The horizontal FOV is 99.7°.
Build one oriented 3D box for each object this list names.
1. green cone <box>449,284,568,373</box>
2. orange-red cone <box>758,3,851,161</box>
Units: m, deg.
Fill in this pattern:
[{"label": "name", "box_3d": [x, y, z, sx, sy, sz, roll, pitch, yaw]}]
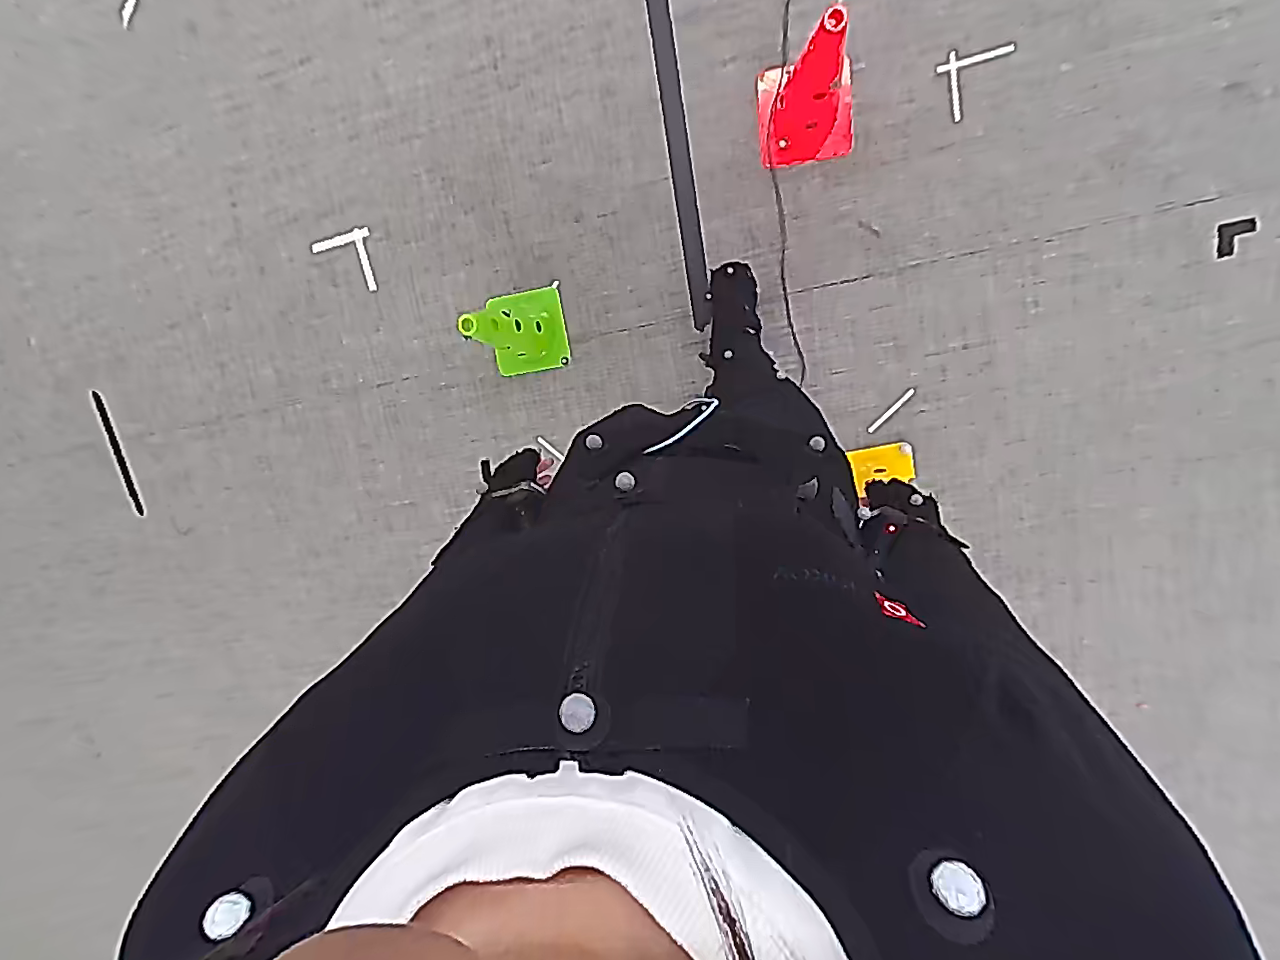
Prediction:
[{"label": "green cone", "box_3d": [-0.321, -0.354, 1.227, 0.202, 0.368, 0.200, -8, 100, 12]}, {"label": "orange-red cone", "box_3d": [0.342, -0.786, 1.036, 0.199, 0.360, 0.198, -4, 103, 8]}]
